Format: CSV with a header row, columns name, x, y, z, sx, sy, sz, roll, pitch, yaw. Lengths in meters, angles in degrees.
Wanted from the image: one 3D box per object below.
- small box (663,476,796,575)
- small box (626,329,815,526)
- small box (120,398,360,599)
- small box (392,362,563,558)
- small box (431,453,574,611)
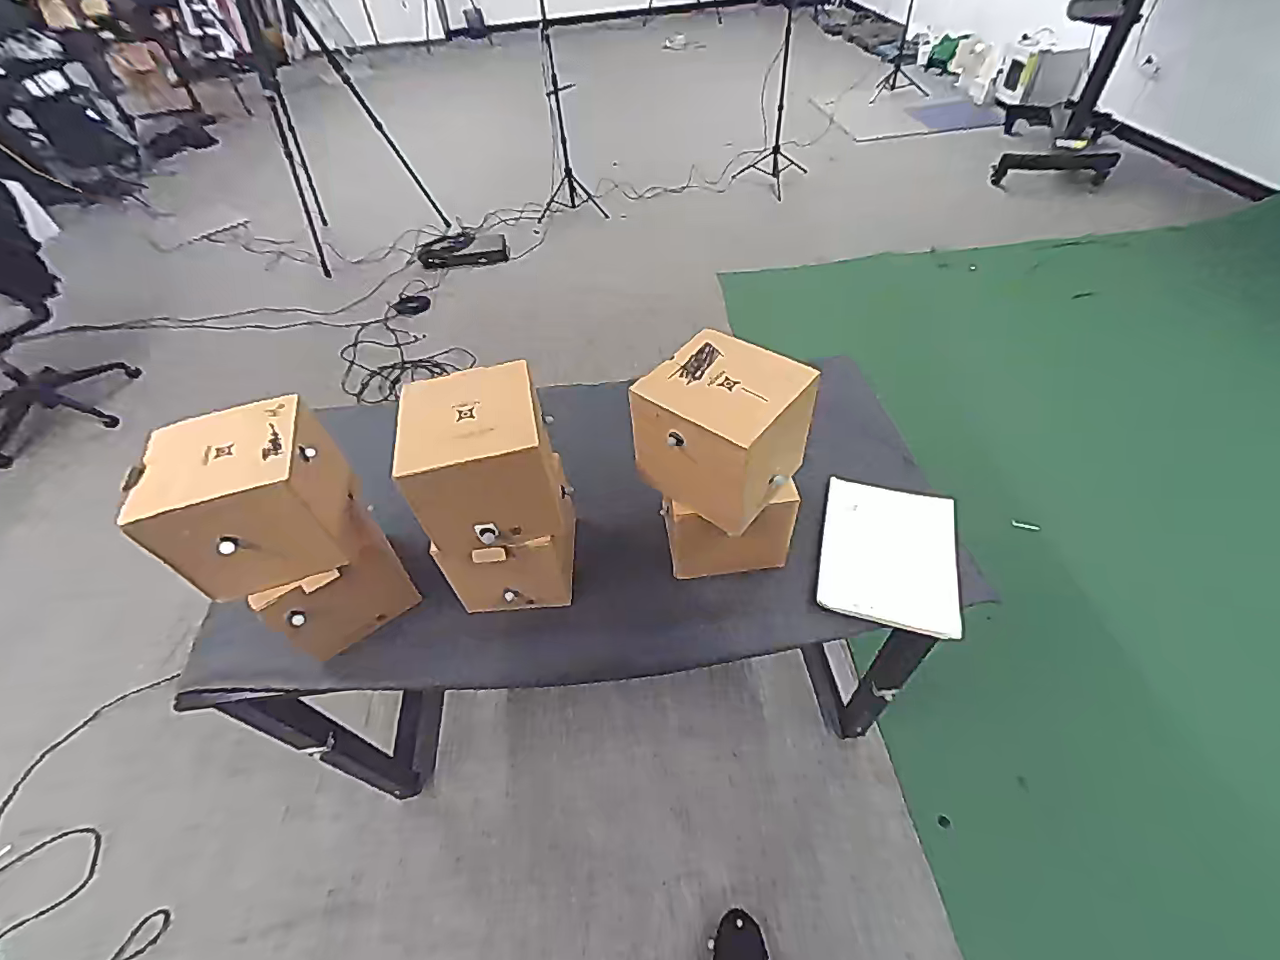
name,x,y,z,sx,sy,sz,roll,pitch,yaw
small box,0.128,0.031,0.852,0.179,0.176,0.168,-8,48,0
small box,0.104,-0.068,0.723,0.179,0.176,0.168,31,58,28
small box,-0.491,0.027,0.698,0.179,0.176,0.168,-18,49,-9
small box,-0.207,-0.026,0.718,0.168,0.176,0.179,-14,49,-5
small box,-0.198,0.082,0.840,0.168,0.176,0.179,-5,48,2
